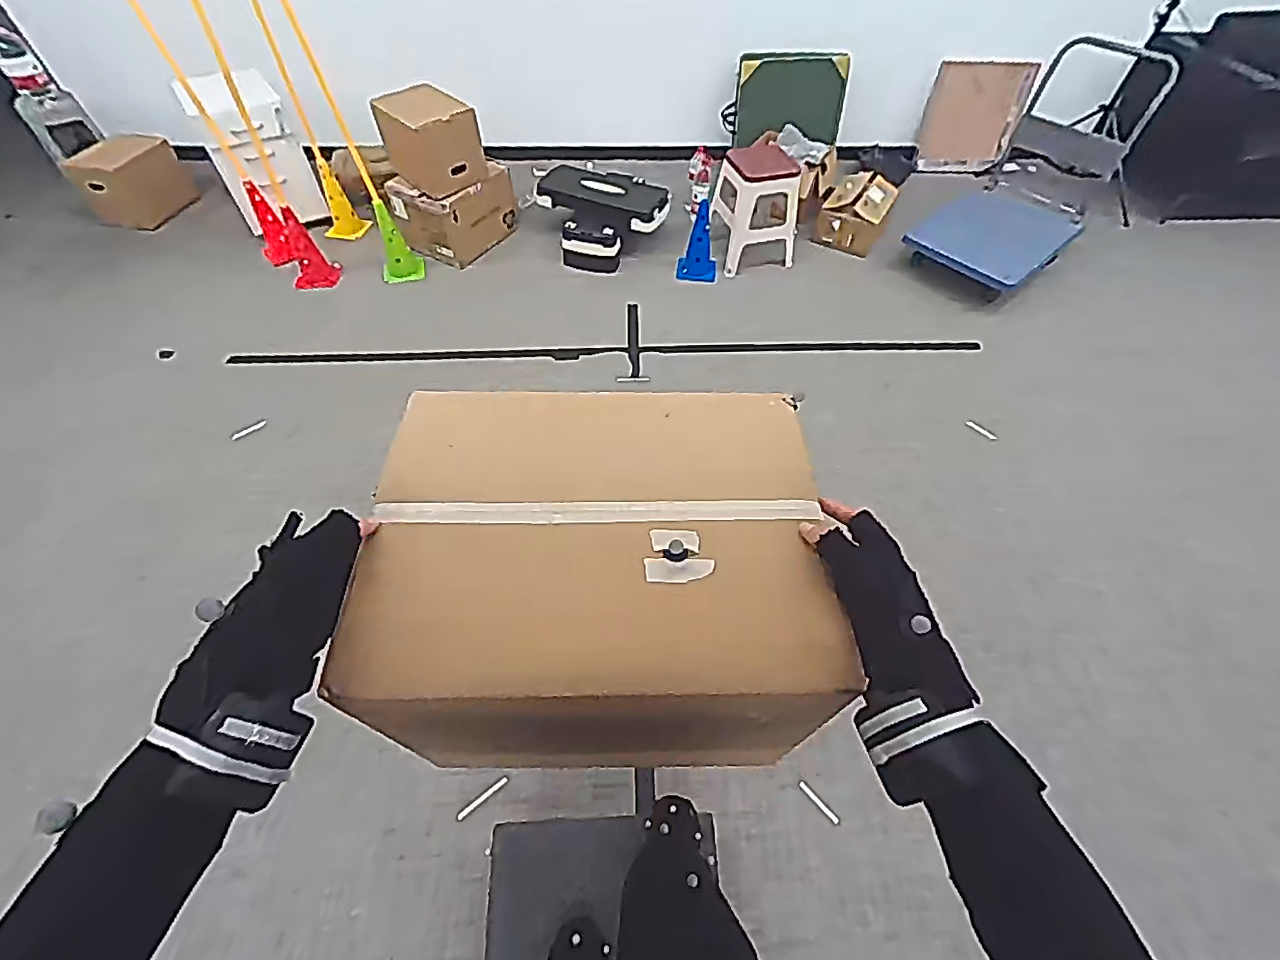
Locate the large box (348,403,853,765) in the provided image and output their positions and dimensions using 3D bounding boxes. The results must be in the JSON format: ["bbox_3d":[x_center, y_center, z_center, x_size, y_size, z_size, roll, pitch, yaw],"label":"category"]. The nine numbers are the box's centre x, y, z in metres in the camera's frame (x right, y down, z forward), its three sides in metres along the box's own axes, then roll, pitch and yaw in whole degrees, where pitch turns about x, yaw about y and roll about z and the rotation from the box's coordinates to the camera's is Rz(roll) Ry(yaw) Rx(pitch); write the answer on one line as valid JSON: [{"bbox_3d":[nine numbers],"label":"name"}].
[{"bbox_3d":[-0.037,0.126,0.625,0.408,0.320,0.320,0,54,-2],"label":"large box"}]
